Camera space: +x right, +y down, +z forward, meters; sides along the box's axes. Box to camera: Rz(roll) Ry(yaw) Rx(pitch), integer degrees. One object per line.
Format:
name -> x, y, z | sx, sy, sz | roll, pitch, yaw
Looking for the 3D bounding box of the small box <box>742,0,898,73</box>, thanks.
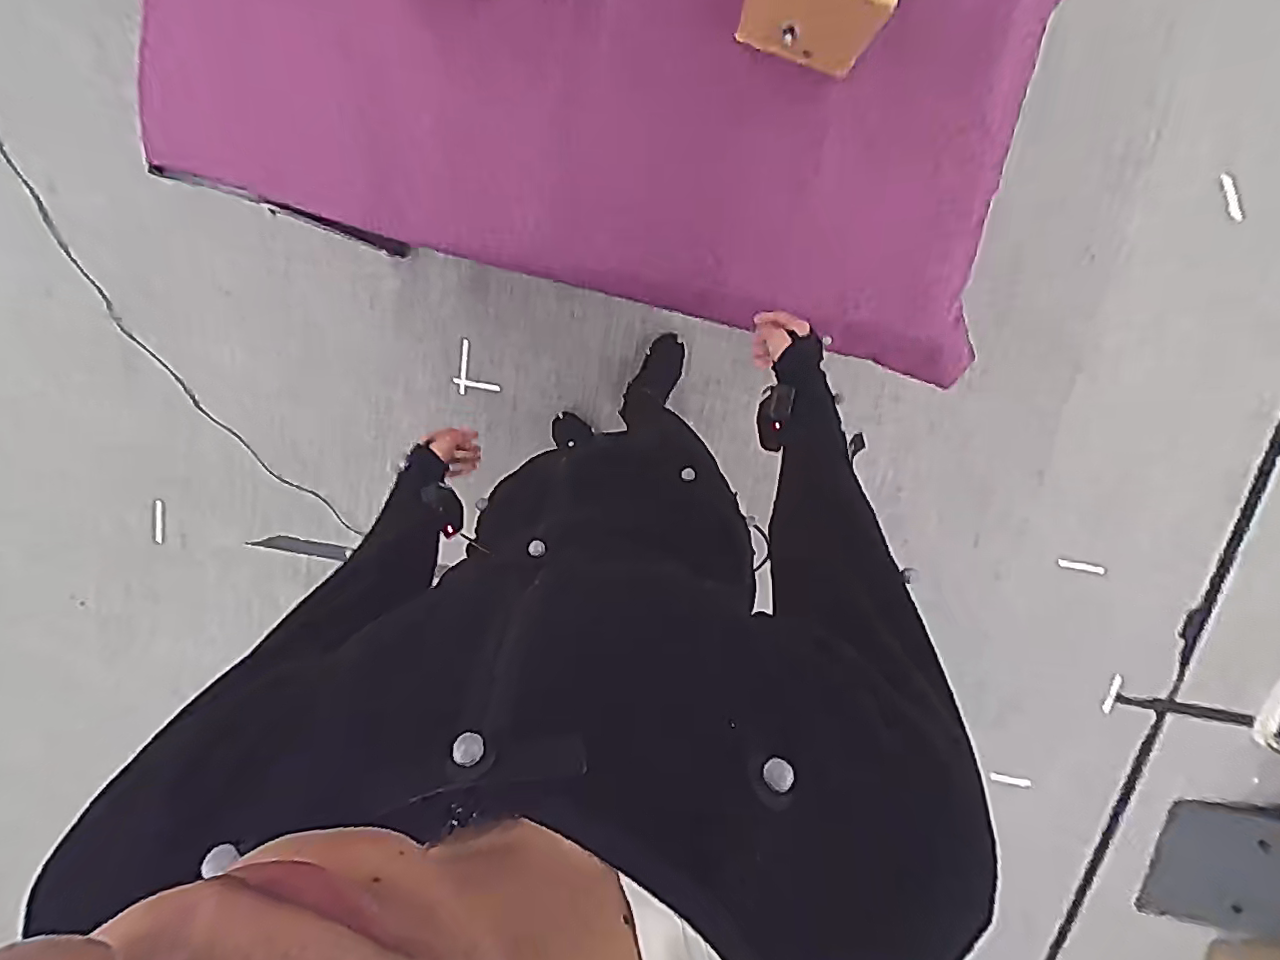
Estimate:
small box -> 0.236, -0.652, 0.657 | 0.168, 0.176, 0.179 | 17, 104, -3
